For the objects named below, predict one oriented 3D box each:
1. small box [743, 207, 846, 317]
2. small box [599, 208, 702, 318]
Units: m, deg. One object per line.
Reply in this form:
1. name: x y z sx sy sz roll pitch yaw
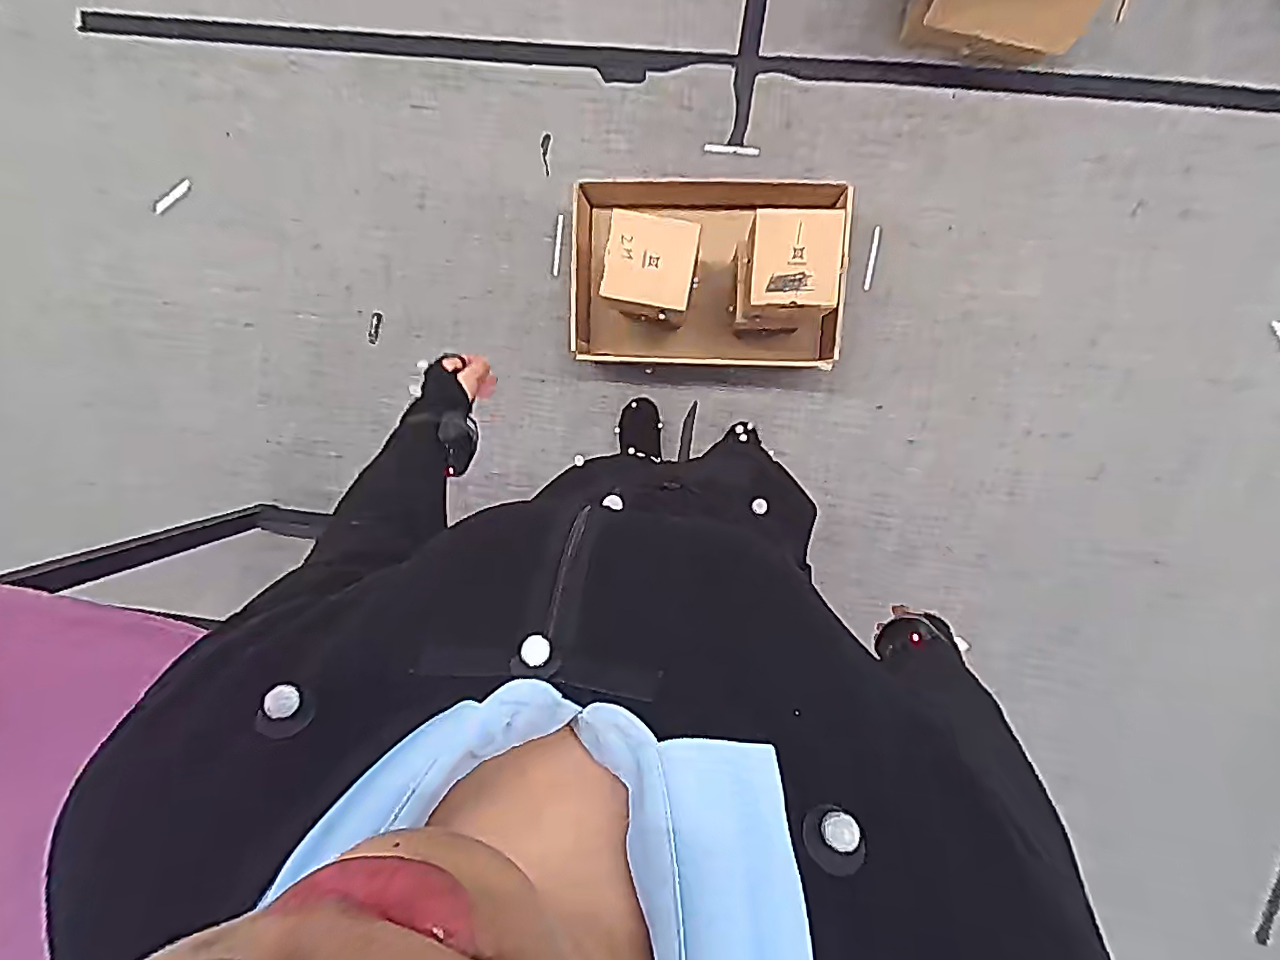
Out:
1. small box: 0.303 -0.432 1.095 0.168 0.176 0.179 3 98 5
2. small box: 0.024 -0.438 1.120 0.179 0.176 0.168 11 100 2
